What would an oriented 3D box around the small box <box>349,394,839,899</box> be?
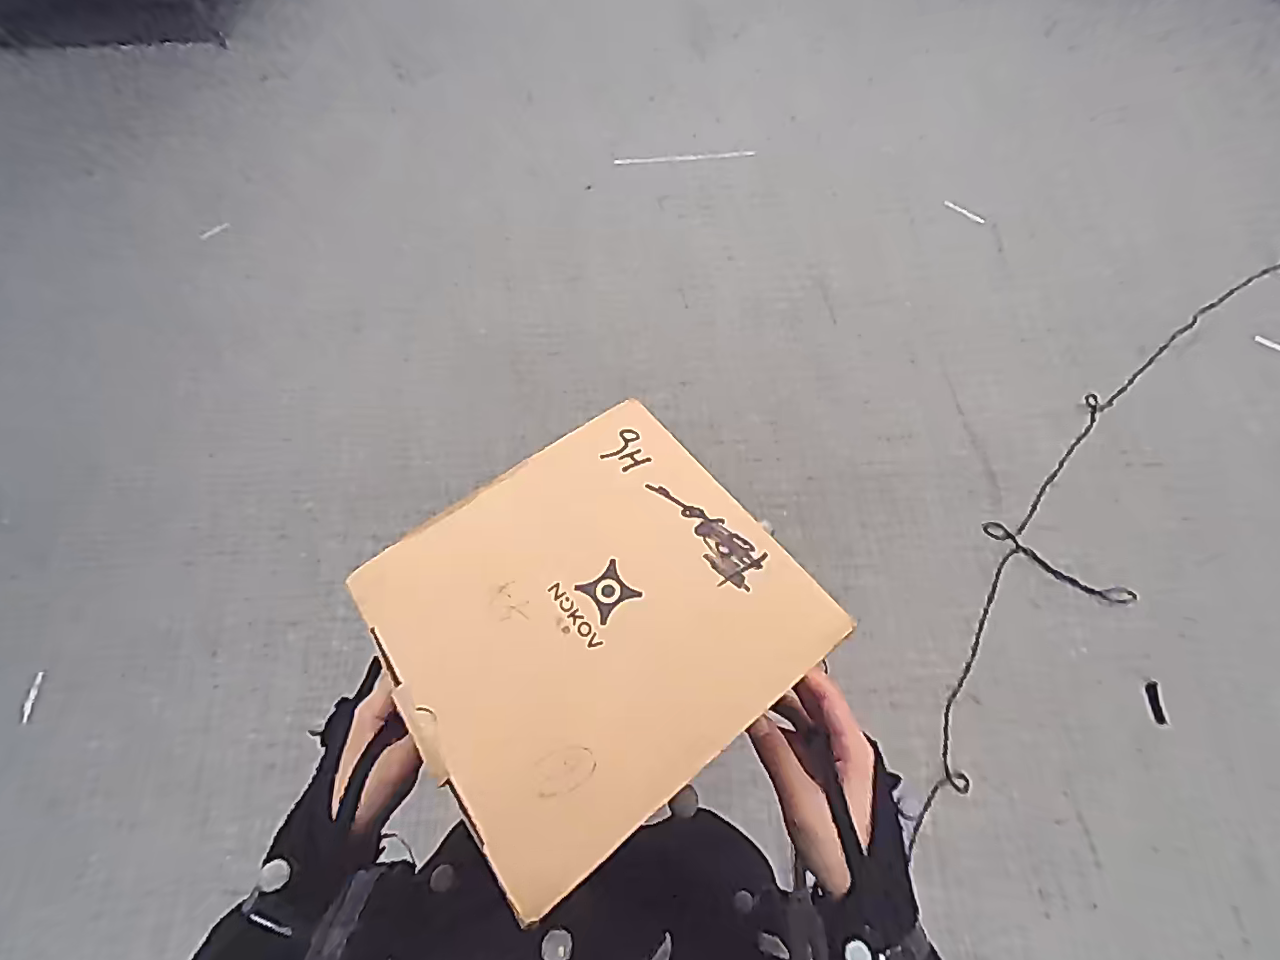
[{"bbox_3d":[-0.022,0.091,0.318,0.179,0.176,0.168,-35,65,-16],"label":"small box"}]
